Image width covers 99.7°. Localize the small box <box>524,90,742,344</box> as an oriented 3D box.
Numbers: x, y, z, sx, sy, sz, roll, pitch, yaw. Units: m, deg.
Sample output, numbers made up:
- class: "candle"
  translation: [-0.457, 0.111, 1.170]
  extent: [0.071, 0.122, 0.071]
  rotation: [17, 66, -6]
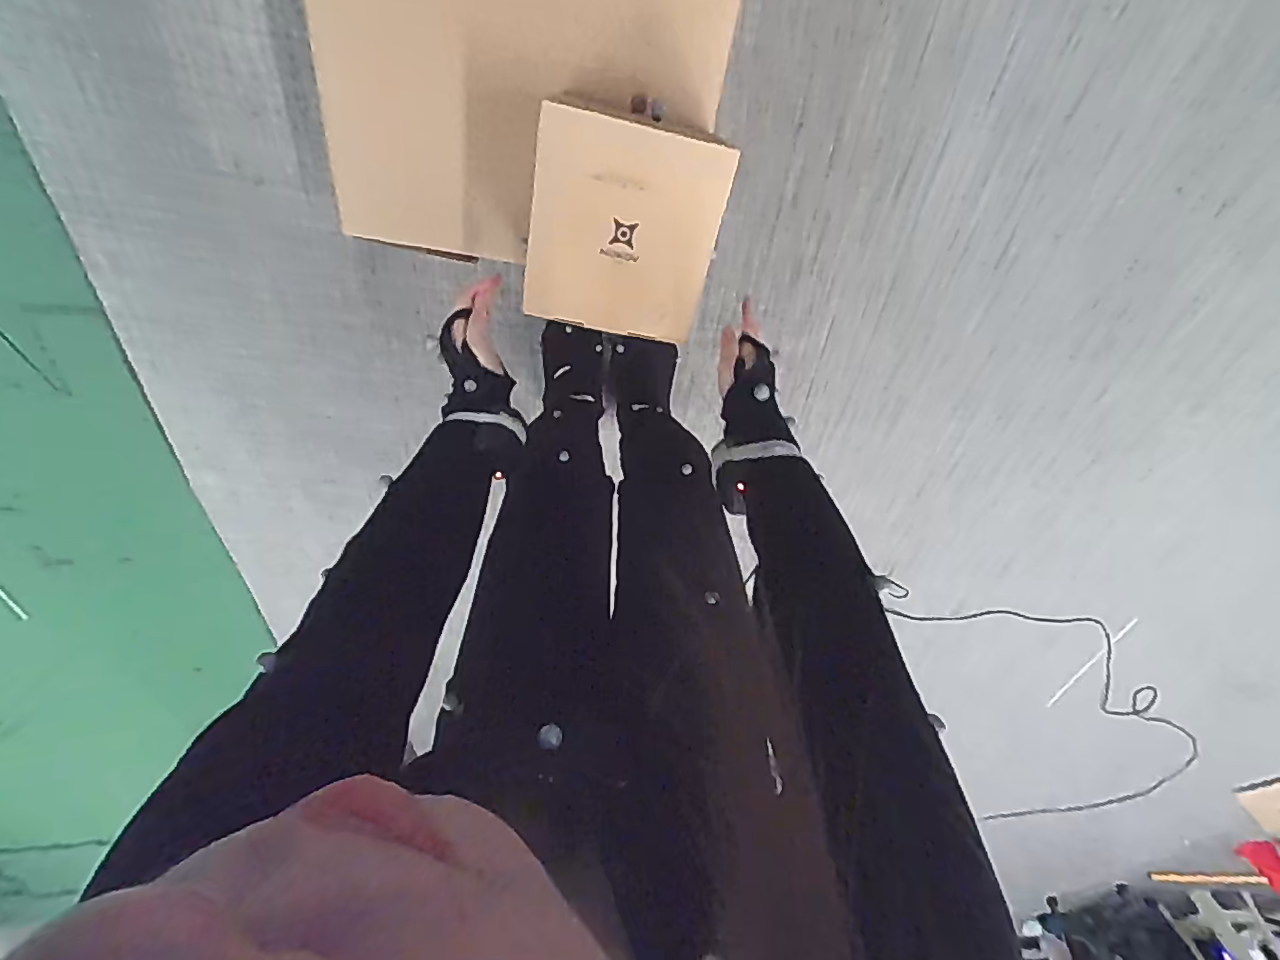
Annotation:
- class: "small box"
  translation: [-0.015, -0.265, 0.542]
  extent: [0.168, 0.176, 0.179]
  rotation: [9, 126, -10]
